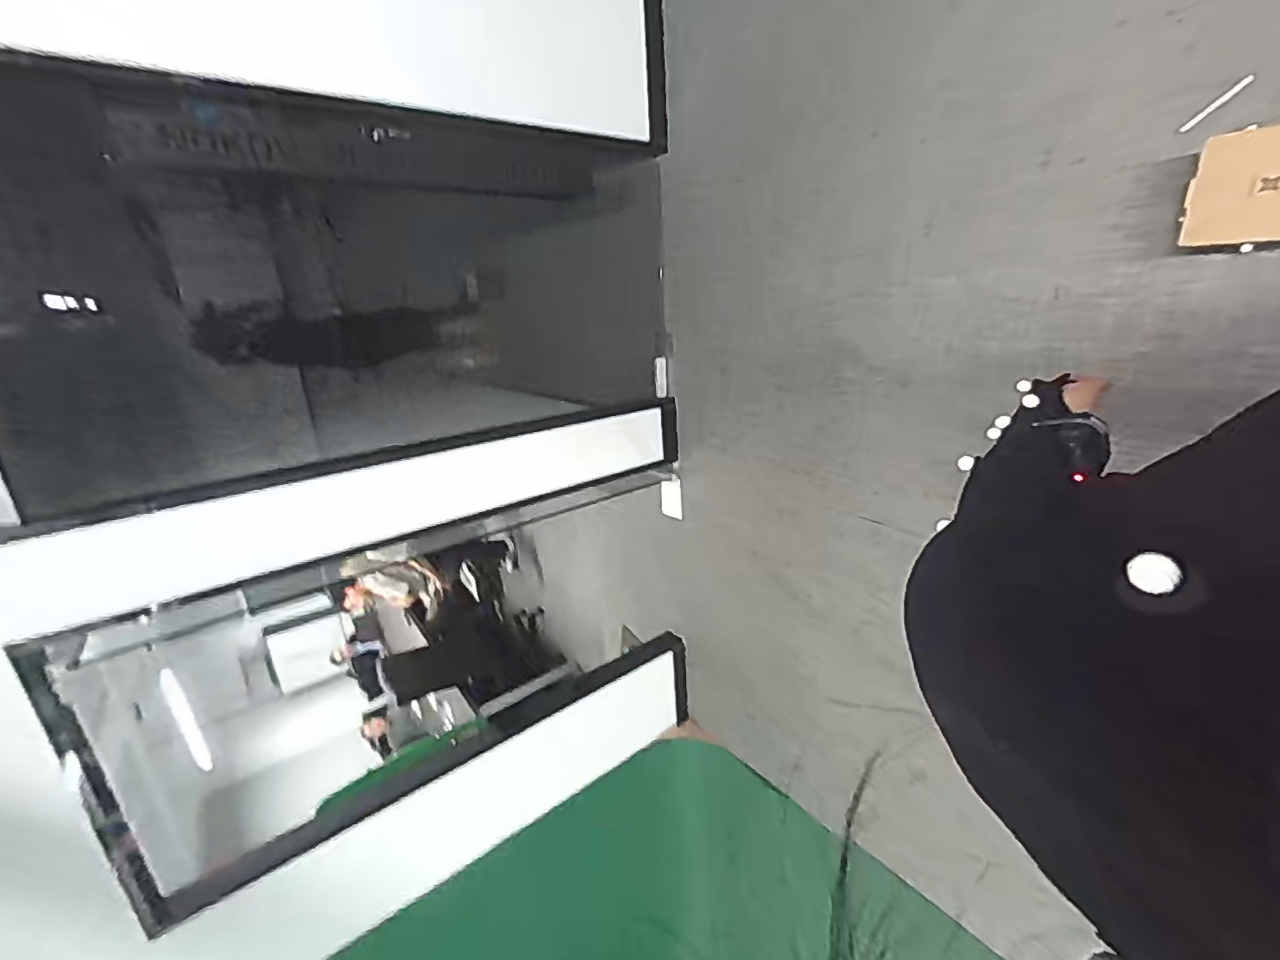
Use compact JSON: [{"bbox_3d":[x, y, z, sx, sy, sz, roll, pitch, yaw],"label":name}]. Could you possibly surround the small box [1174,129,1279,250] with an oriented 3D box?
[{"bbox_3d":[1.038,-0.475,0.892,0.179,0.176,0.168,19,120,48],"label":"small box"}]
